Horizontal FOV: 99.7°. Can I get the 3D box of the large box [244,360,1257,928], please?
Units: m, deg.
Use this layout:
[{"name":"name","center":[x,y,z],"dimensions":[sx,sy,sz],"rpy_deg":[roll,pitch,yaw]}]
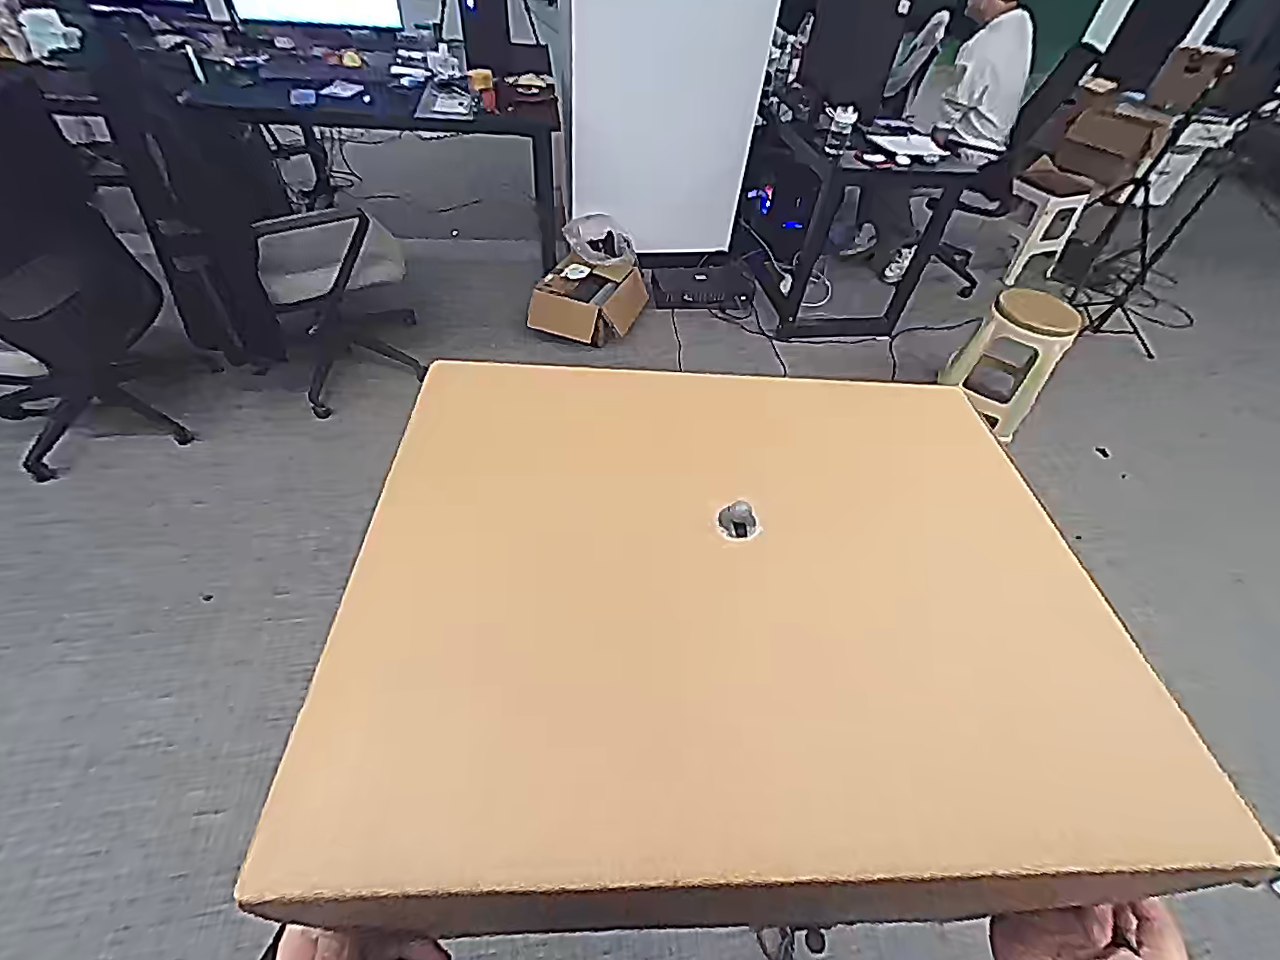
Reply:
[{"name":"large box","center":[0.037,0.124,0.414],"dimensions":[0.408,0.320,0.320],"rpy_deg":[0,50,-5]}]
